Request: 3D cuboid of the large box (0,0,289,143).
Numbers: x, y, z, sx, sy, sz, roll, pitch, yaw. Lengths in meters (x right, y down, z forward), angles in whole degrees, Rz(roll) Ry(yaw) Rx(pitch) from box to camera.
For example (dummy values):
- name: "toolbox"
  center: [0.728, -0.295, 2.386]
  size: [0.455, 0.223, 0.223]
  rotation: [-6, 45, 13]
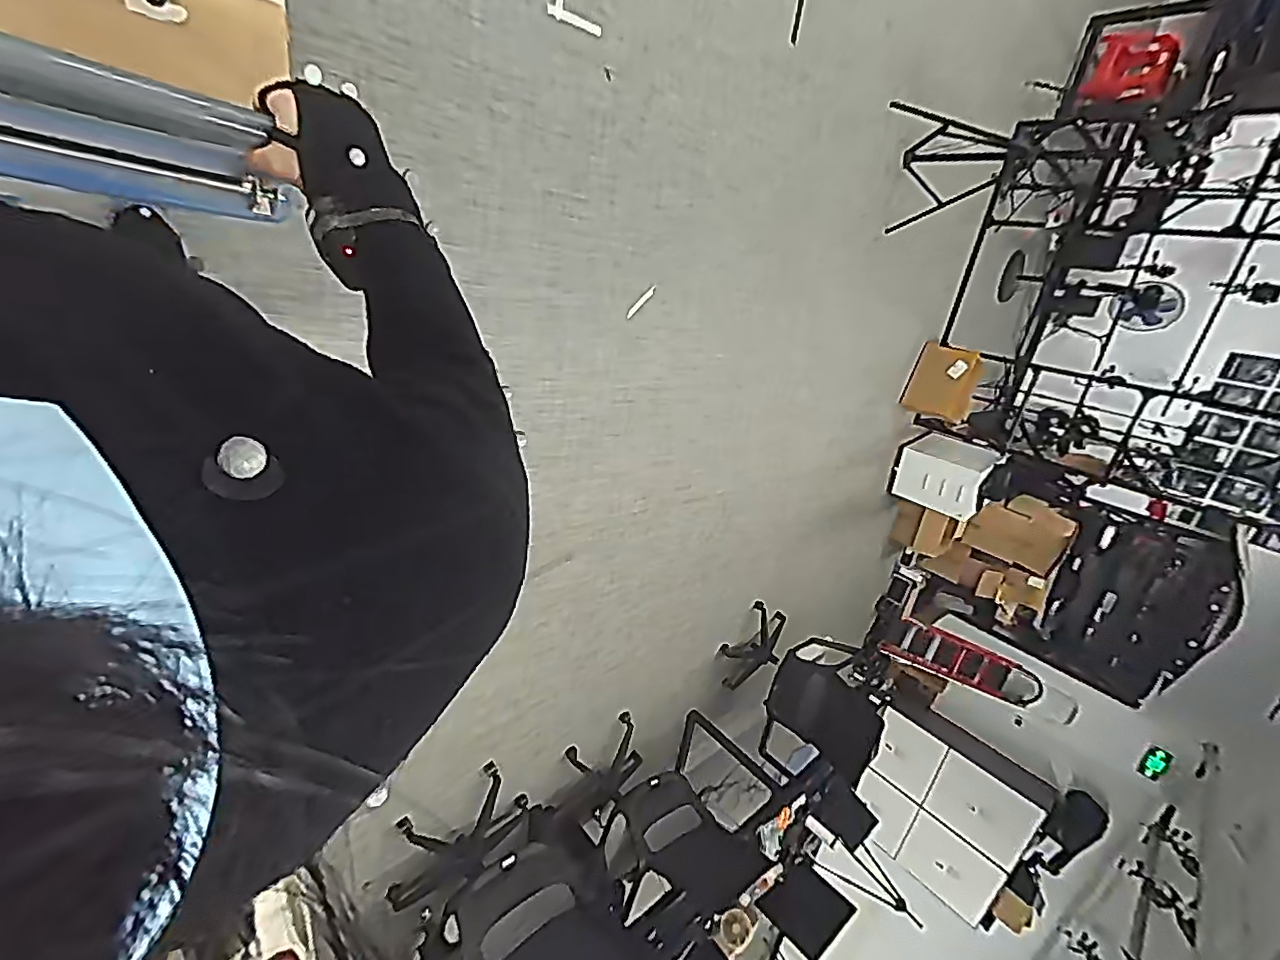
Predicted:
- name: "large box"
  center: [-0.733, -0.657, 0.686]
  size: [0.408, 0.320, 0.320]
  rotation: [-13, 120, -43]
